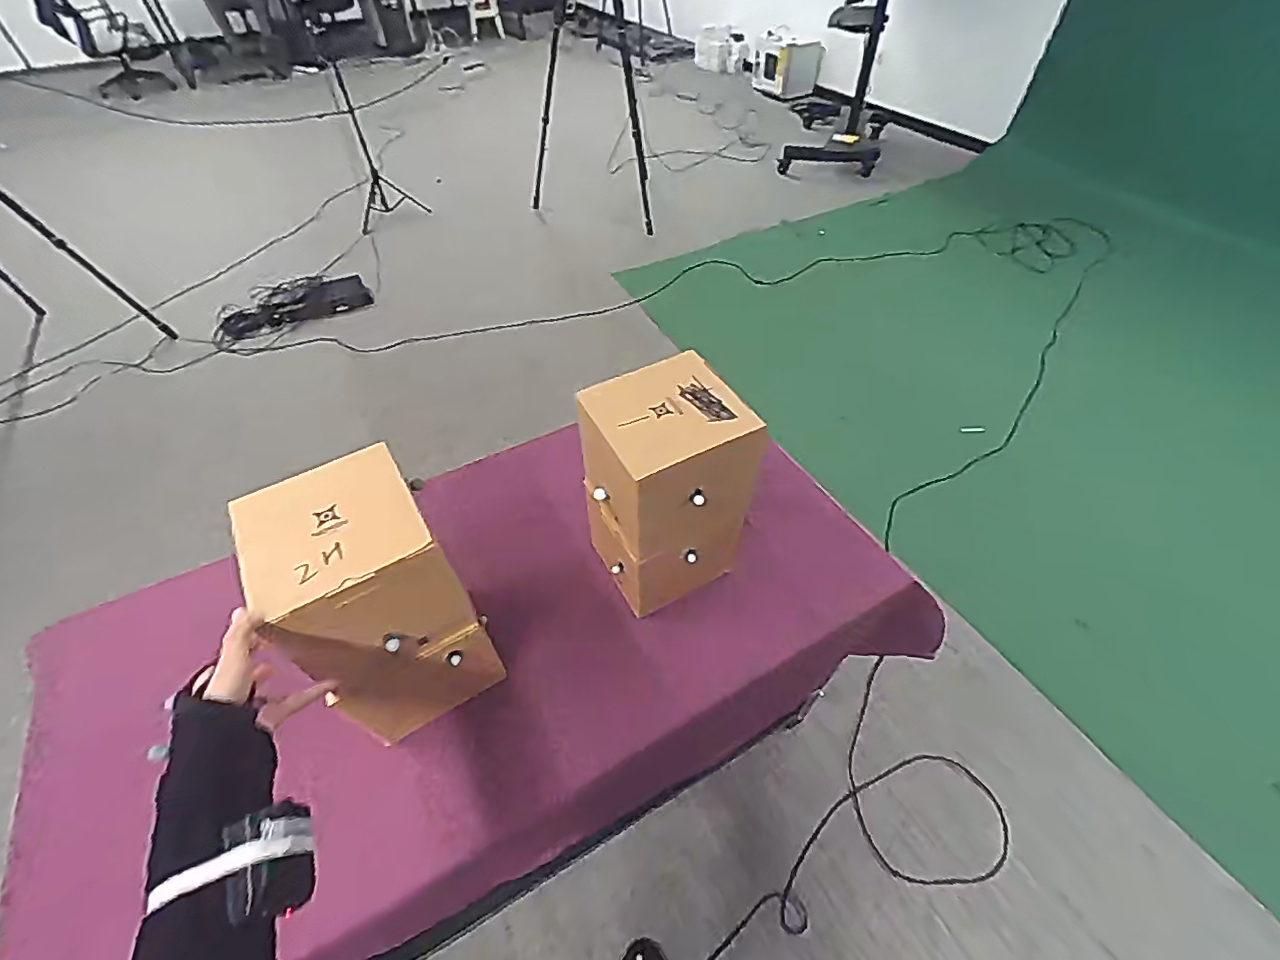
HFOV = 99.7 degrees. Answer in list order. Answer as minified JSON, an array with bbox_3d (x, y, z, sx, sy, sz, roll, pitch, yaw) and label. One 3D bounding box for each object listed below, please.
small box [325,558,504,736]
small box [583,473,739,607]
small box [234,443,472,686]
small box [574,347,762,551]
[{"bbox_3d":[-0.308,0.211,0.730,0.179,0.176,0.168,-27,54,-20],"label":"small box"},{"bbox_3d":[0.031,0.066,0.837,0.179,0.176,0.168,-24,54,-17],"label":"small box"},{"bbox_3d":[-0.313,0.095,0.611,0.168,0.176,0.179,-28,54,-20],"label":"small box"},{"bbox_3d":[0.031,-0.039,0.711,0.179,0.176,0.168,-25,54,-16],"label":"small box"}]
